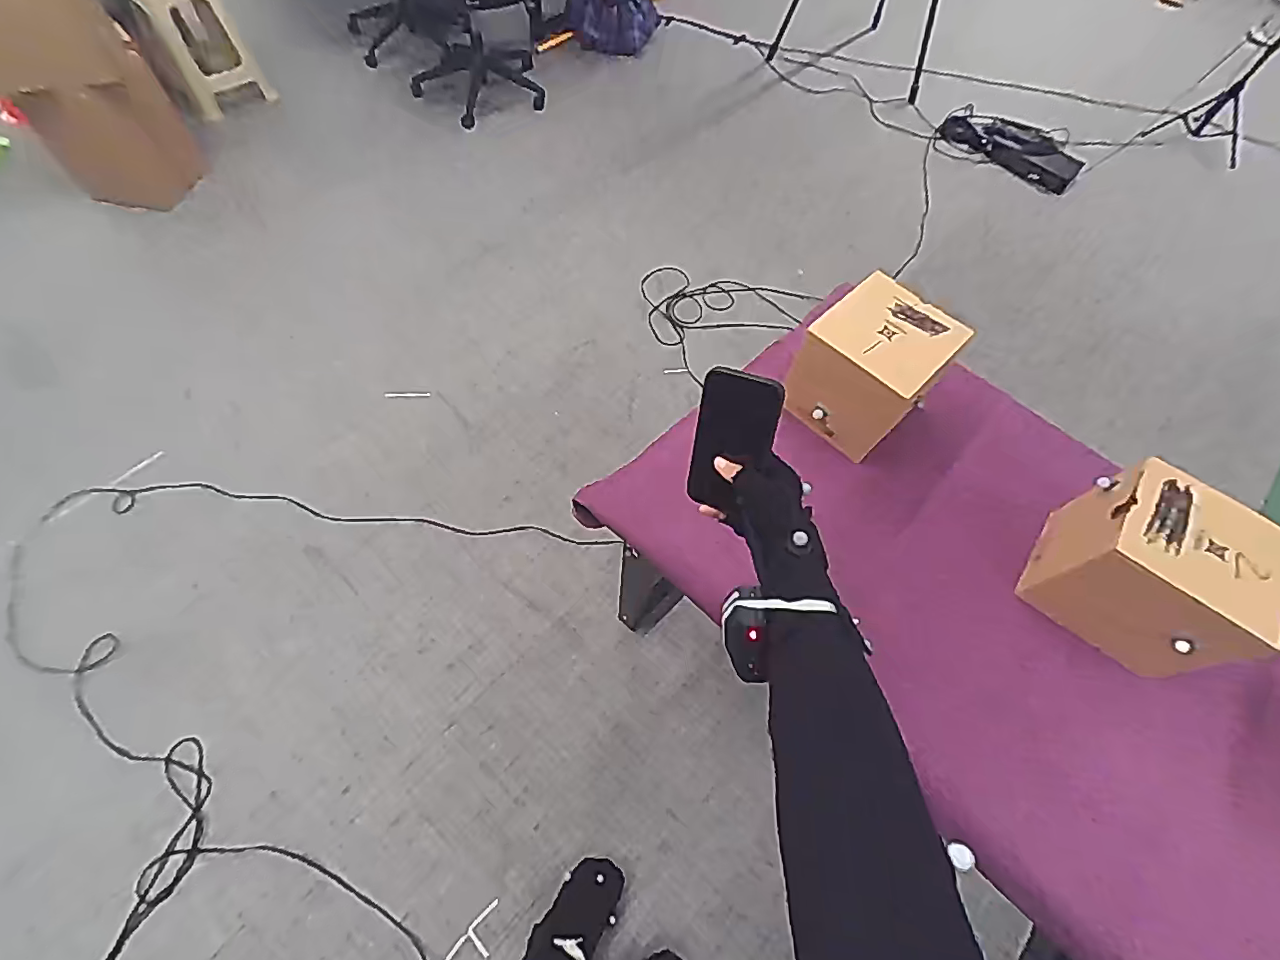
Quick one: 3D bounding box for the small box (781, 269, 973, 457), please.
[{"bbox_3d":[0.339,-0.169,0.808,0.179,0.176,0.168,-40,71,-20],"label":"small box"}]
